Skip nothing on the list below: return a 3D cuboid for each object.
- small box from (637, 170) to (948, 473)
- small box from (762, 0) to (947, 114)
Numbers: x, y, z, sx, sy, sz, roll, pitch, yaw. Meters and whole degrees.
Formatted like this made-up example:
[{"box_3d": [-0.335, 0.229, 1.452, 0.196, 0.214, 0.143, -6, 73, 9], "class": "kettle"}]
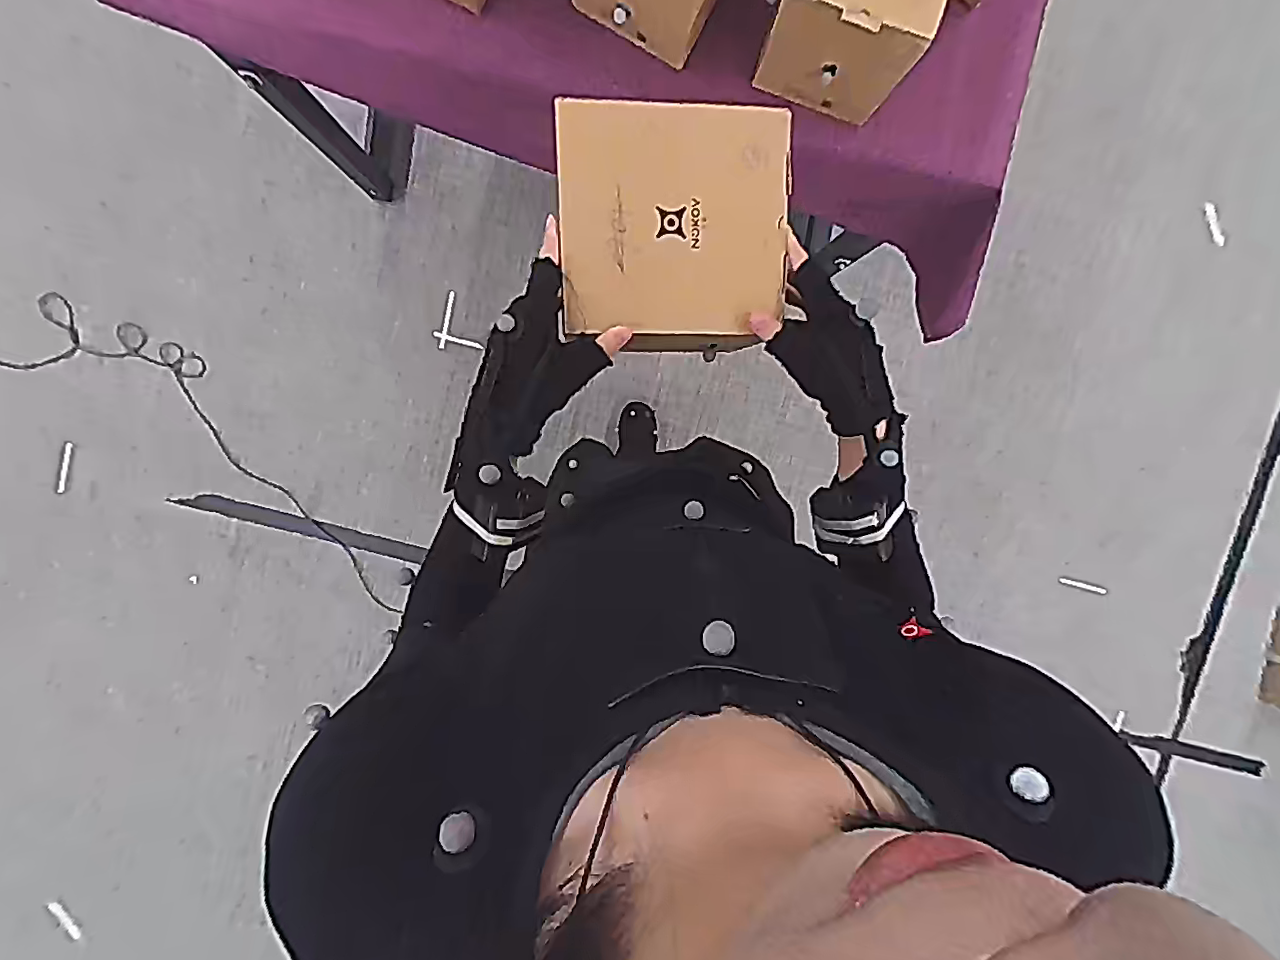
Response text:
[{"box_3d": [0.138, -0.135, 0.473, 0.176, 0.168, 0.179, -40, 102, -39], "class": "small box"}, {"box_3d": [0.260, -0.586, 0.644, 0.168, 0.176, 0.179, 17, 95, -5], "class": "small box"}]
